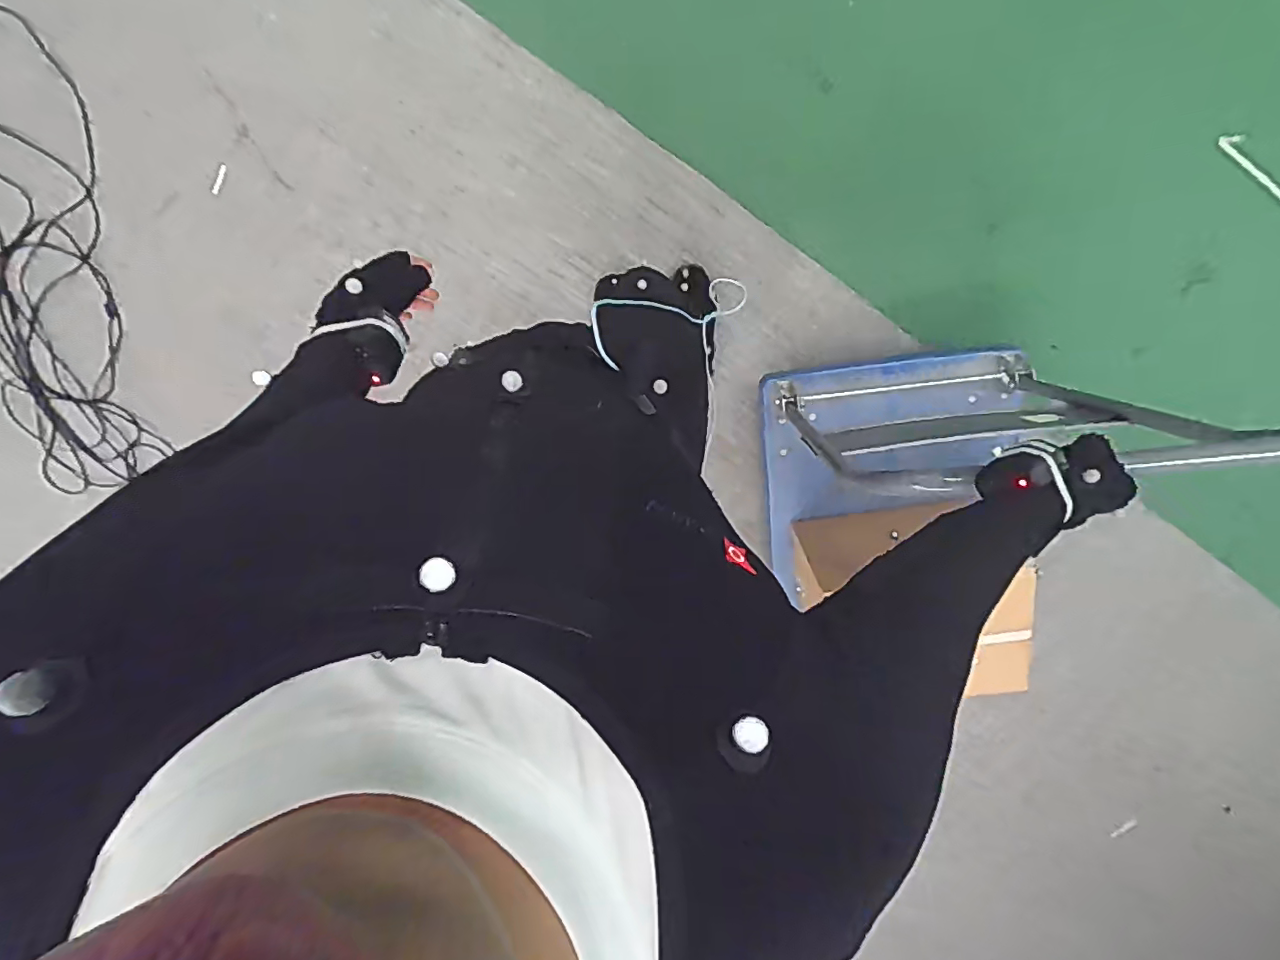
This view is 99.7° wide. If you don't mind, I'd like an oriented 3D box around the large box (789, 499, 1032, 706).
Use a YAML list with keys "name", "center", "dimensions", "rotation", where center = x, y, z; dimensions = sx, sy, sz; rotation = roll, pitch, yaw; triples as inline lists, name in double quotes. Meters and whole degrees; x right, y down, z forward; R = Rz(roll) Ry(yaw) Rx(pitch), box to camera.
- name: "large box"
  center: [0.593, 0.268, 1.249]
  dimensions: [0.408, 0.320, 0.320]
  rotation: [-10, 112, 6]
